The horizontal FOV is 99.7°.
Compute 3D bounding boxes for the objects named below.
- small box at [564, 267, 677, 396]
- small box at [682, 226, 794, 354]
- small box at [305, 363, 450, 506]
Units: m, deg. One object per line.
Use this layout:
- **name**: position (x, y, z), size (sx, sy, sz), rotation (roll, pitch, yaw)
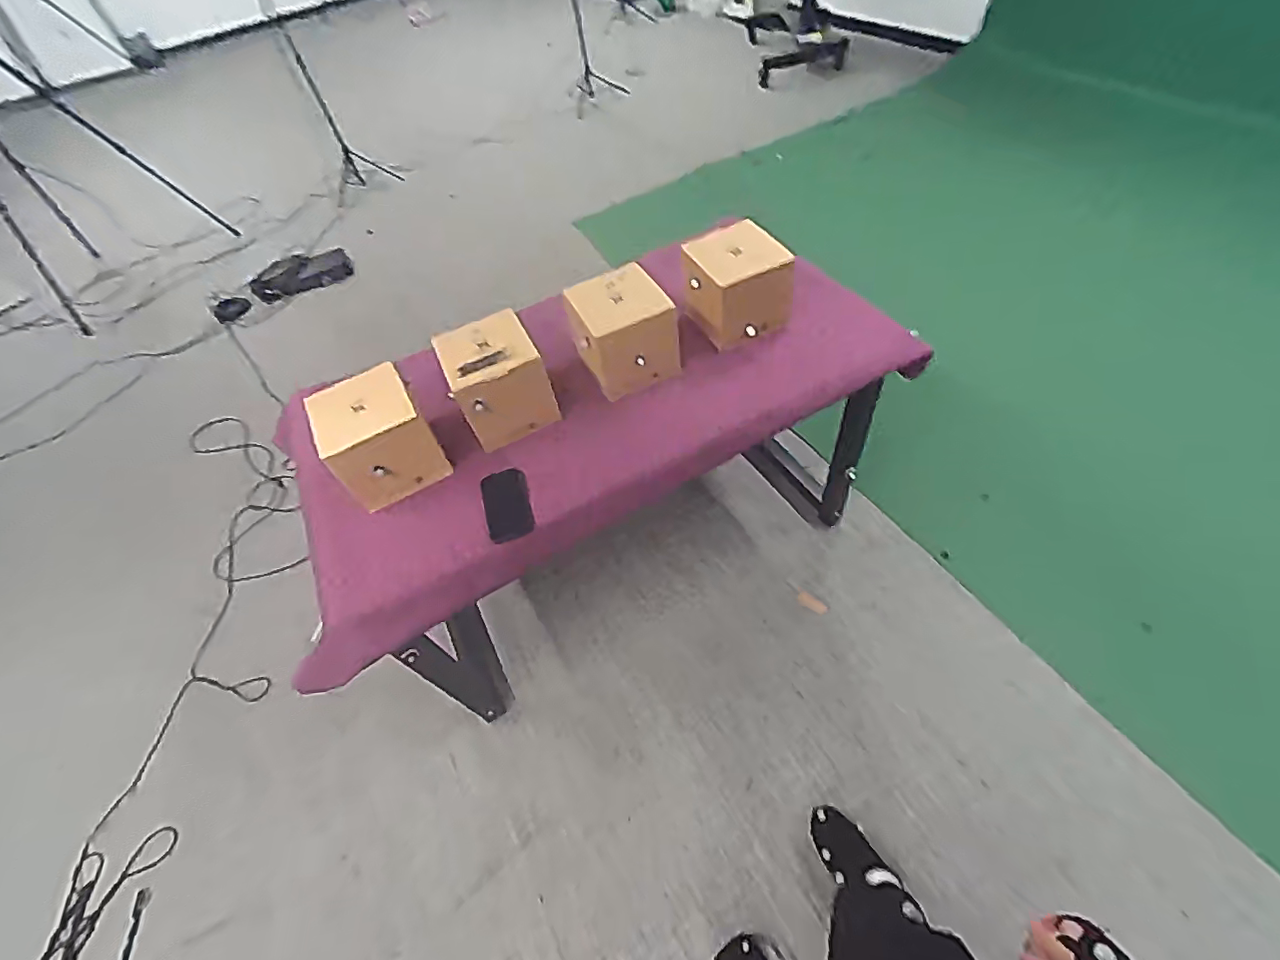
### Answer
- **small box**: position (-0.034, -0.291, 1.091), size (0.168, 0.176, 0.179), rotation (-24, 53, -10)
- **small box**: position (0.200, -0.397, 1.139), size (0.168, 0.176, 0.179), rotation (-23, 53, -8)
- **small box**: position (-0.475, -0.076, 0.994), size (0.168, 0.176, 0.179), rotation (-29, 54, -13)
